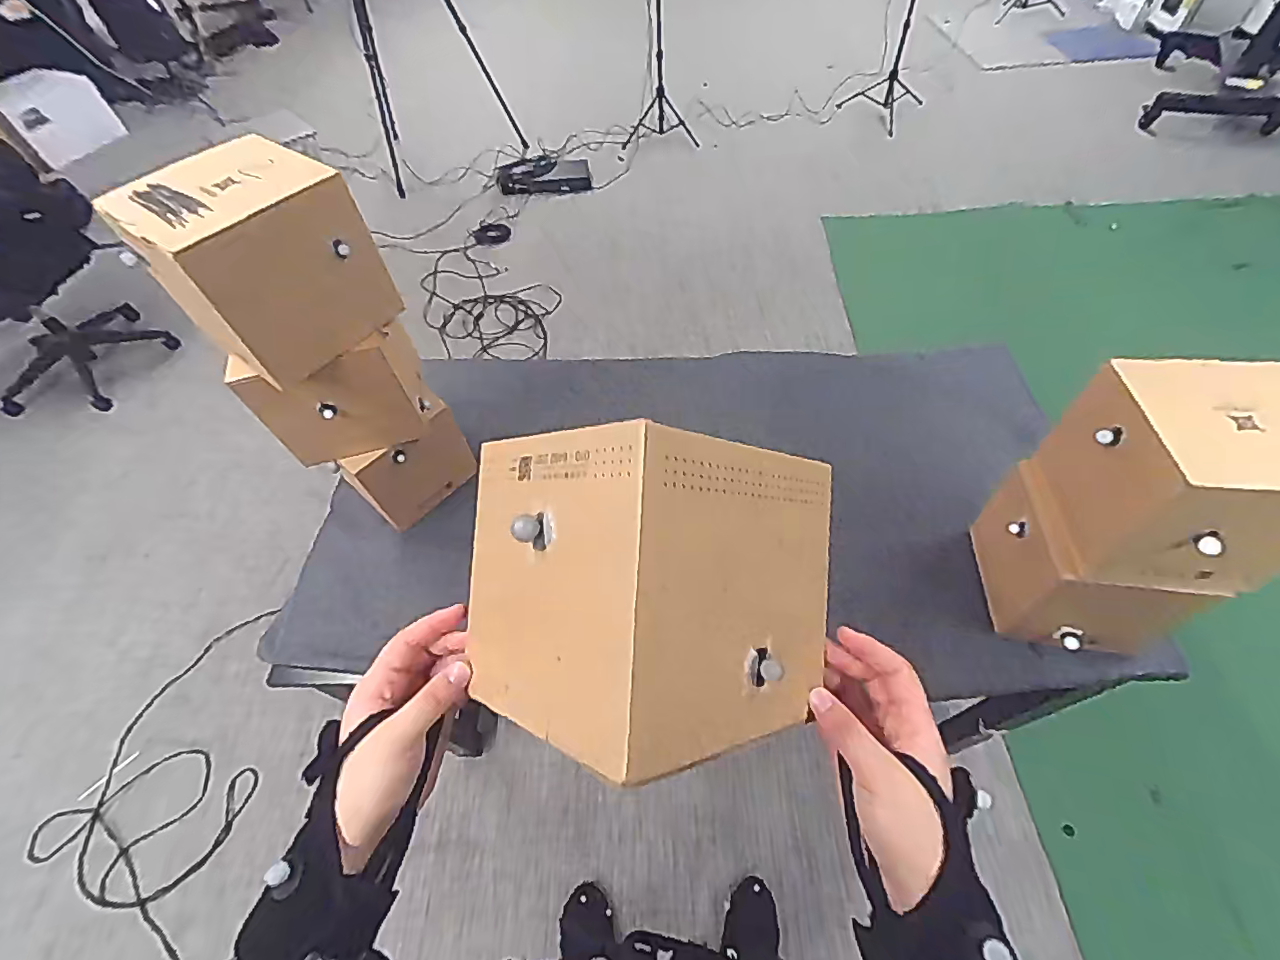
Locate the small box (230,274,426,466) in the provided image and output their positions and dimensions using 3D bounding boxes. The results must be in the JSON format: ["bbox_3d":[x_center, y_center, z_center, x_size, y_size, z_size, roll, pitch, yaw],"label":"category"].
[{"bbox_3d":[-0.406,-0.145,0.737,0.179,0.176,0.168,-17,56,-7],"label":"small box"}]

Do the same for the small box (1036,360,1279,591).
[{"bbox_3d":[0.556,-0.002,0.556,0.168,0.176,0.179,3,50,8],"label":"small box"}]

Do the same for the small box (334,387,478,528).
[{"bbox_3d":[-0.396,-0.054,0.874,0.179,0.176,0.168,34,64,25],"label":"small box"}]

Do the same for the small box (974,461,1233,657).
[{"bbox_3d":[0.554,0.100,0.683,0.168,0.176,0.179,5,52,10],"label":"small box"}]
